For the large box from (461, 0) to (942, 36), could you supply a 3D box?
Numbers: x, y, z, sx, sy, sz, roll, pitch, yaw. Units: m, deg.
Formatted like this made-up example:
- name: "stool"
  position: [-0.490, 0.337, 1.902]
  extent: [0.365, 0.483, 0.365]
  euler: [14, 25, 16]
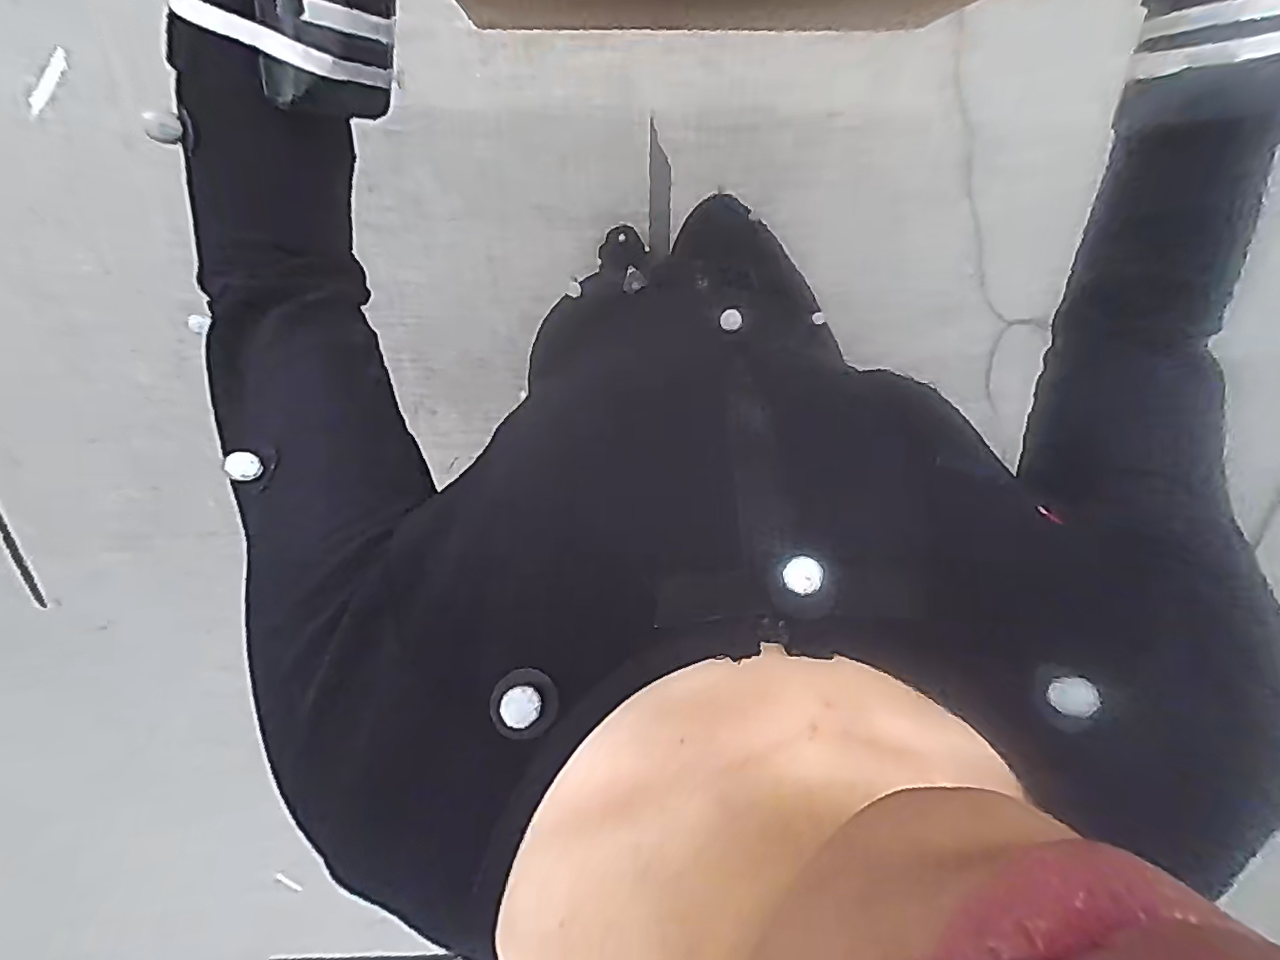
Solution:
- name: "large box"
  position: [0.059, -0.472, 0.285]
  extent: [0.408, 0.320, 0.320]
  euler: [-4, 119, -3]
